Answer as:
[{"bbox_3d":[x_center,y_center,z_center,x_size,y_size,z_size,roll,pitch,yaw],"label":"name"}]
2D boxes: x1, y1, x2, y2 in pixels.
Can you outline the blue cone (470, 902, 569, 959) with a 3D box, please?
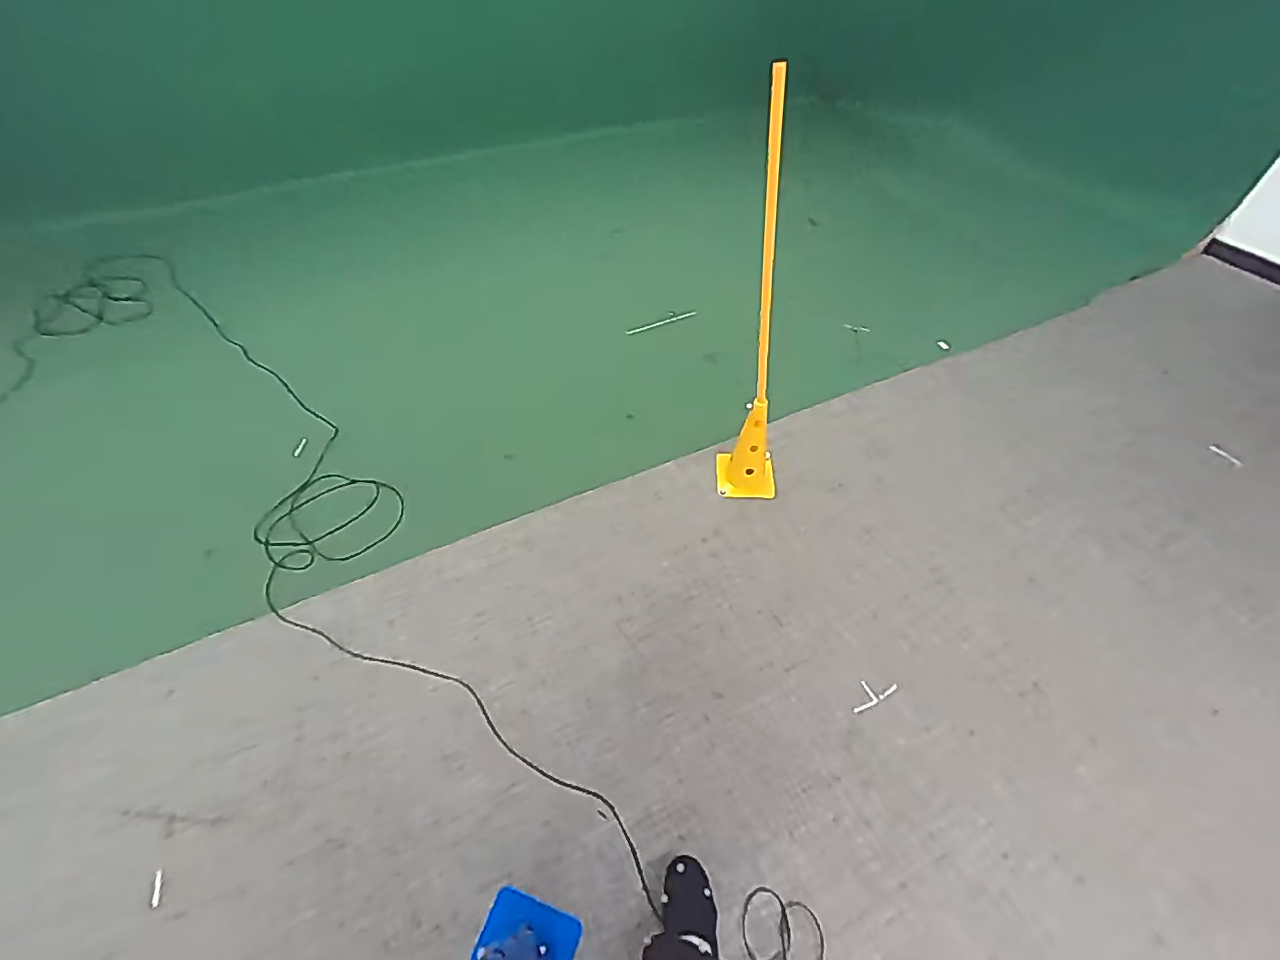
[{"bbox_3d":[-0.250,0.887,0.953,0.192,0.380,0.193,15,54,11],"label":"blue cone"}]
